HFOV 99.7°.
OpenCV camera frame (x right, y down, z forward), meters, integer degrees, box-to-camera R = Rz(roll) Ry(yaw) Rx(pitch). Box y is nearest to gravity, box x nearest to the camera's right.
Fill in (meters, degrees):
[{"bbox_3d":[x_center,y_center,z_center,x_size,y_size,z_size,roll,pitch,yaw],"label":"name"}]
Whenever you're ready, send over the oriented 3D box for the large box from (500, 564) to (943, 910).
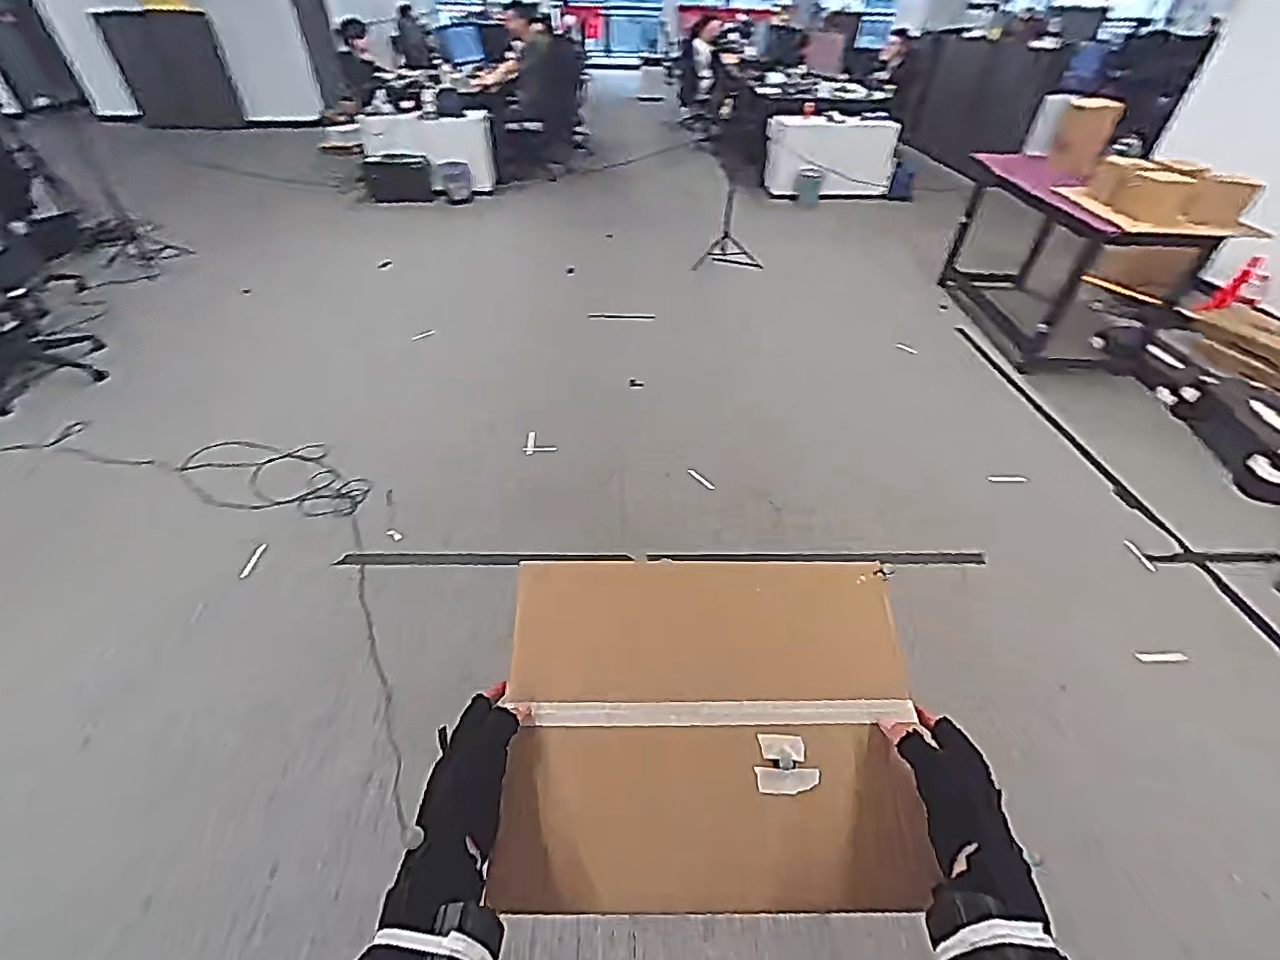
[{"bbox_3d":[0.066,0.308,0.676,0.408,0.320,0.320,0,61,-1],"label":"large box"}]
